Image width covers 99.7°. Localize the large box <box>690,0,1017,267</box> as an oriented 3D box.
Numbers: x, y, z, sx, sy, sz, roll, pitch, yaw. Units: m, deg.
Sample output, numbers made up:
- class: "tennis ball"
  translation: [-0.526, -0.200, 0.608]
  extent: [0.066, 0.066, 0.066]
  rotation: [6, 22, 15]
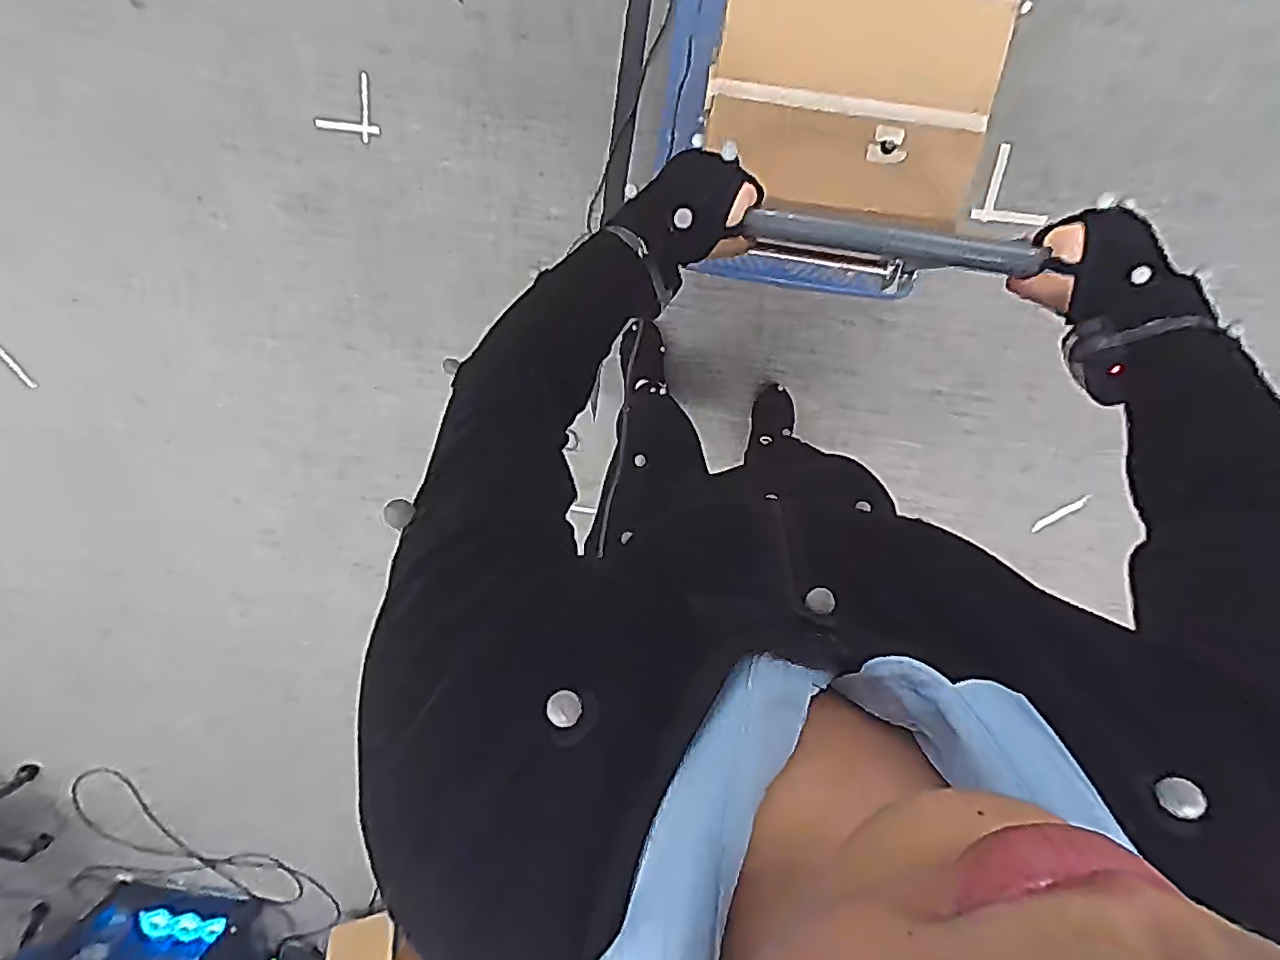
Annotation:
- class: "large box"
  translation: [0.311, -0.569, 0.932]
  extent: [0.408, 0.320, 0.320]
  rotation: [9, 108, 0]
